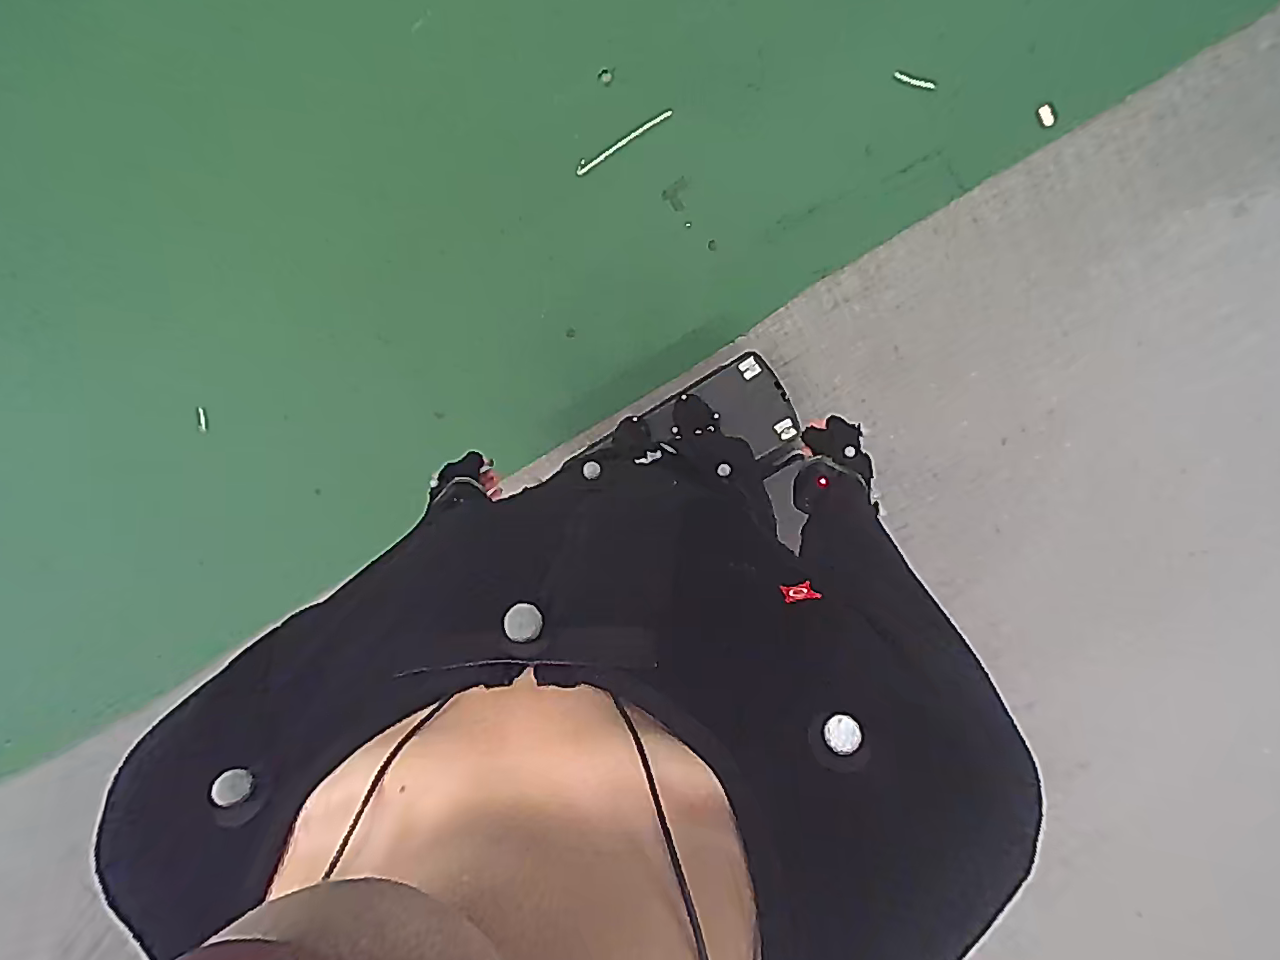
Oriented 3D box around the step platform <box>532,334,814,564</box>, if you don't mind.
[{"bbox_3d":[0.075,-0.078,1.376,0.684,0.204,0.286,-31,95,8],"label":"step platform"}]
